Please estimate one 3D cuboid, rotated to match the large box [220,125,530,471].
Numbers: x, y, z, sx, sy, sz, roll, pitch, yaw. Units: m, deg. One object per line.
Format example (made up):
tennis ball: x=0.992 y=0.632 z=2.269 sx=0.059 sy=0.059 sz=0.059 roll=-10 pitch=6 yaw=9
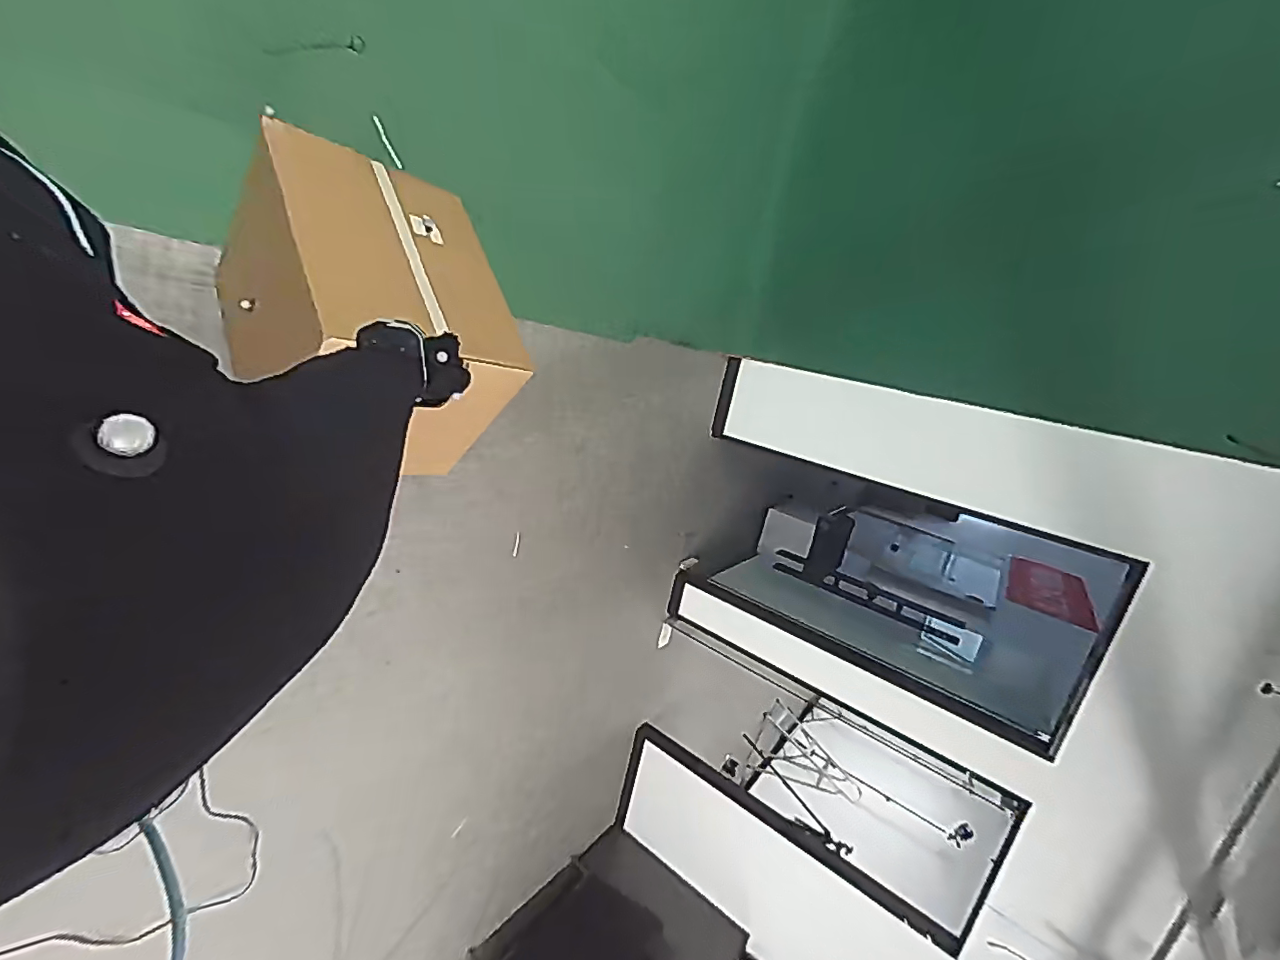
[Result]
large box: x=-0.452 y=-0.262 z=0.901 sx=0.320 sy=0.408 sz=0.320 roll=-39 pitch=158 yaw=33
